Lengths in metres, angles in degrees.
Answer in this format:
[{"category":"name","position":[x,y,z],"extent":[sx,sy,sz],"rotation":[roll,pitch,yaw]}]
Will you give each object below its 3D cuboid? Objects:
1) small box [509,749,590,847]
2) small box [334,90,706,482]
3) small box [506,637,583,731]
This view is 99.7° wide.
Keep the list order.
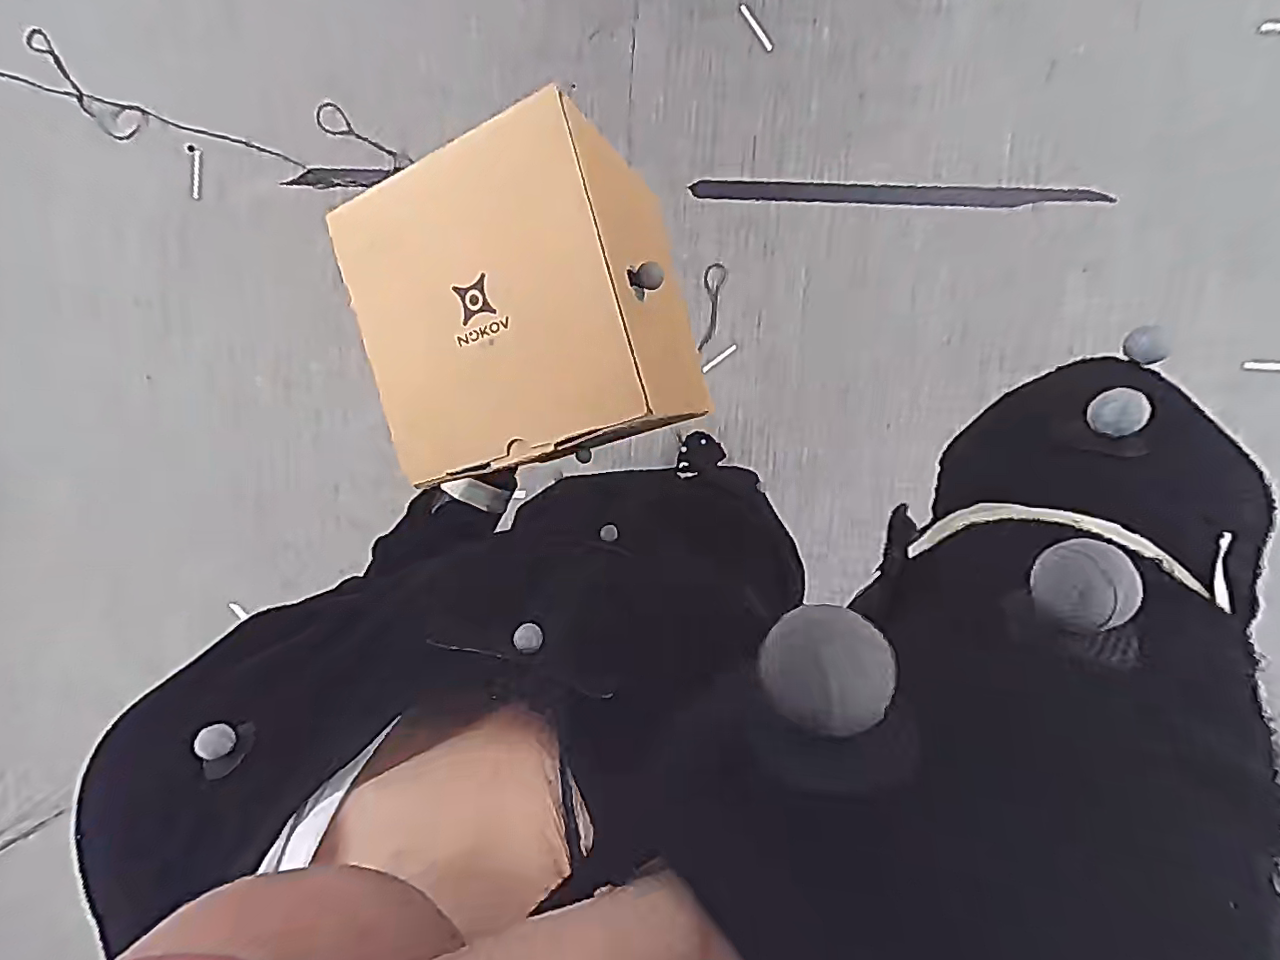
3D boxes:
[{"category":"small box","position":[-0.239,0.845,1.453],"extent":[0.179,0.176,0.168],"rotation":[-2,93,6]},{"category":"small box","position":[-0.064,-0.110,0.380],"extent":[0.168,0.176,0.179],"rotation":[-15,94,20]},{"category":"small box","position":[-0.249,0.537,1.440],"extent":[0.168,0.176,0.179],"rotation":[3,91,5]}]
